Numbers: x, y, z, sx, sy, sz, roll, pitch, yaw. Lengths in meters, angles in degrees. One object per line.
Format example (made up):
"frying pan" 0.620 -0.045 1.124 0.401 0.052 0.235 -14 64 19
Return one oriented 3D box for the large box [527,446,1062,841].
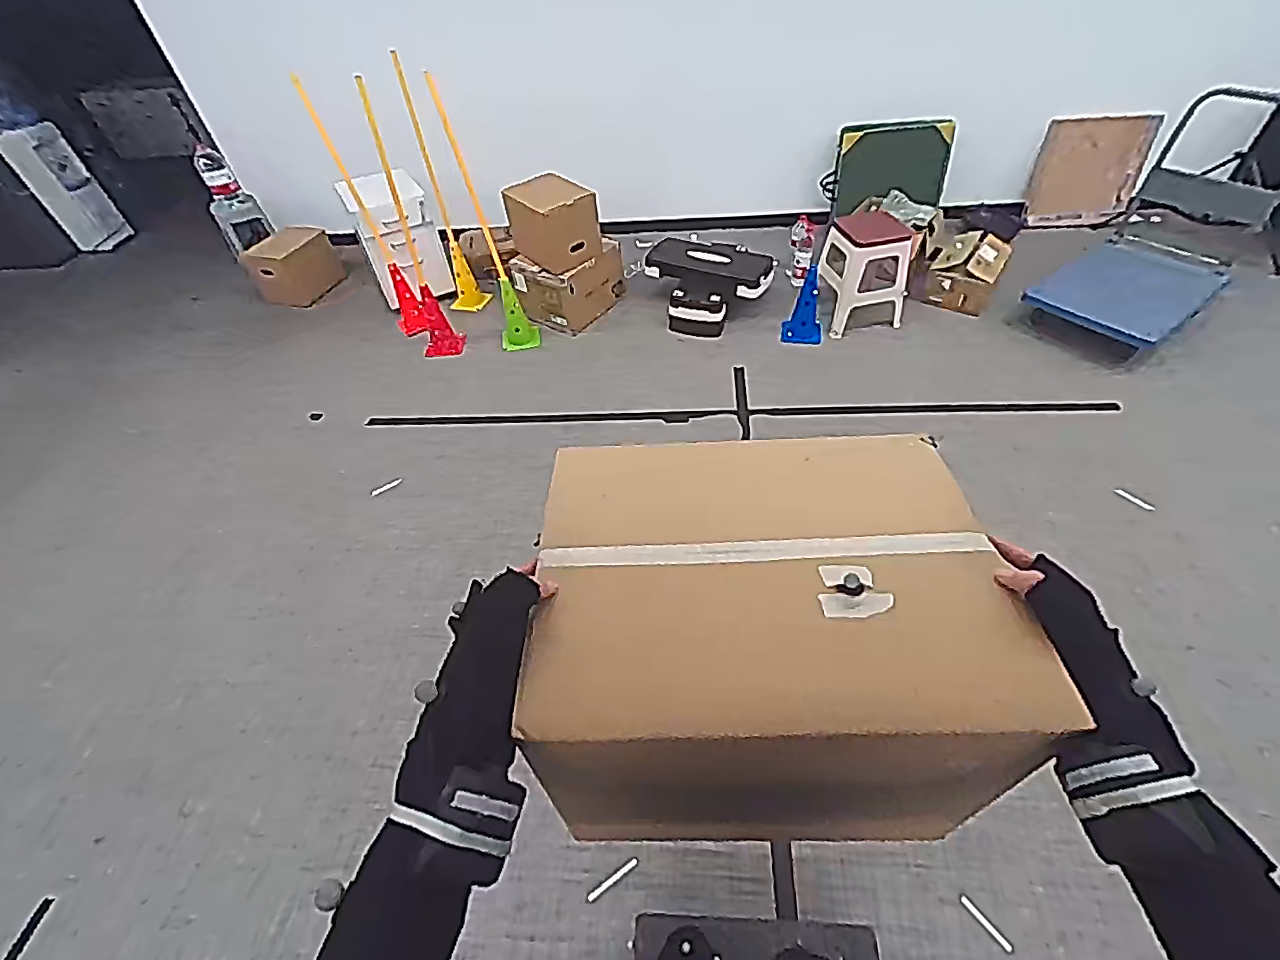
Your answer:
"large box" 0.117 0.183 0.606 0.408 0.320 0.320 -2 45 2
